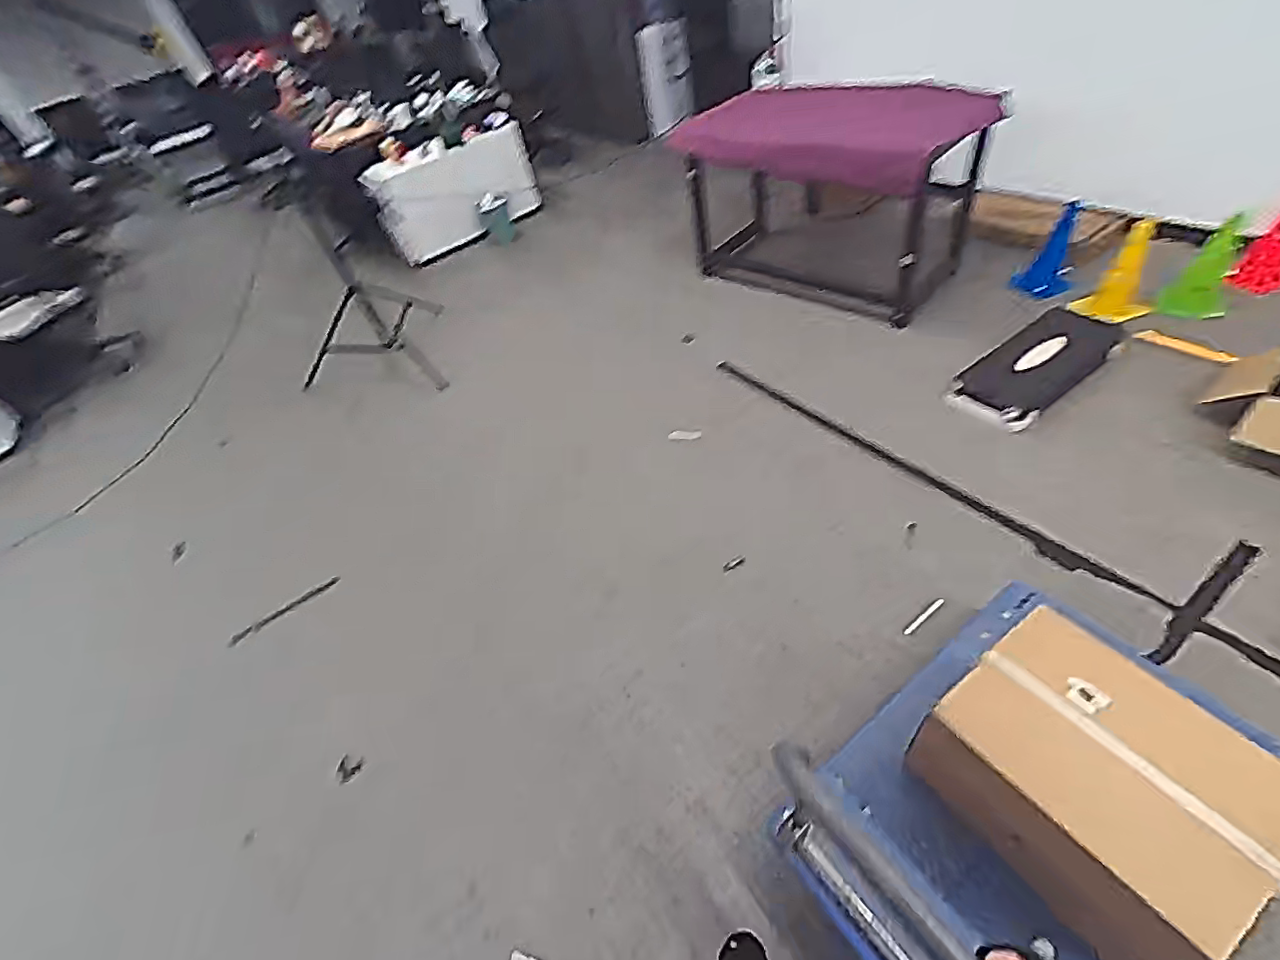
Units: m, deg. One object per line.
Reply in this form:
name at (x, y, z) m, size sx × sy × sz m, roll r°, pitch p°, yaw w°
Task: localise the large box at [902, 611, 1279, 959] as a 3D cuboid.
large box at (0.759, 0.528, 0.967) m, size 0.320 × 0.320 × 0.408 m, roll -32°, pitch 47°, yaw -16°
